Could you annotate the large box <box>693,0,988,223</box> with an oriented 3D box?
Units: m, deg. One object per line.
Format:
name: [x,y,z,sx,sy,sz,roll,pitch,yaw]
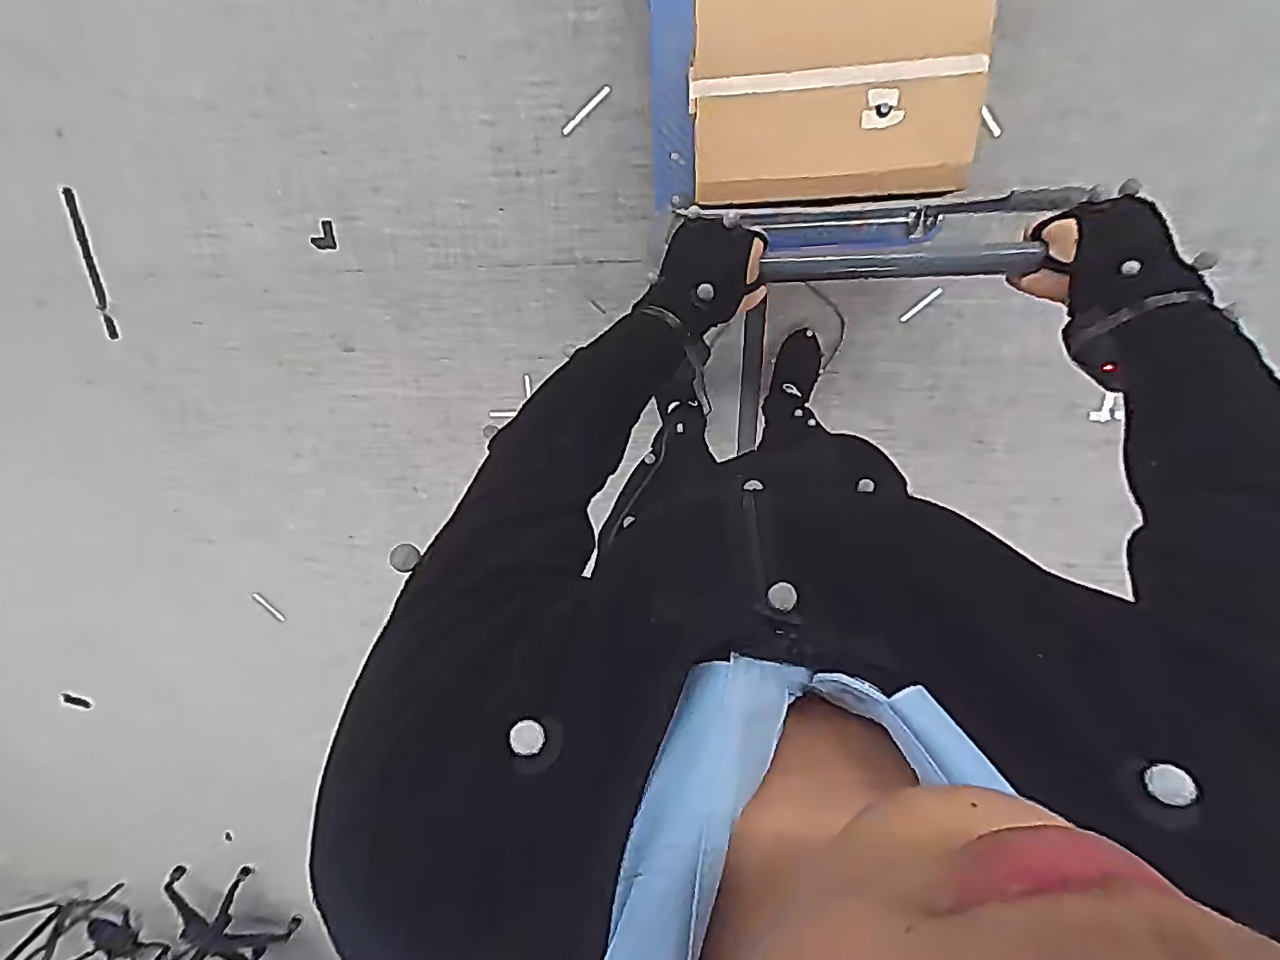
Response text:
large box: [0.298,-0.636,0.927,0.408,0.320,0.320,-1,112,6]
